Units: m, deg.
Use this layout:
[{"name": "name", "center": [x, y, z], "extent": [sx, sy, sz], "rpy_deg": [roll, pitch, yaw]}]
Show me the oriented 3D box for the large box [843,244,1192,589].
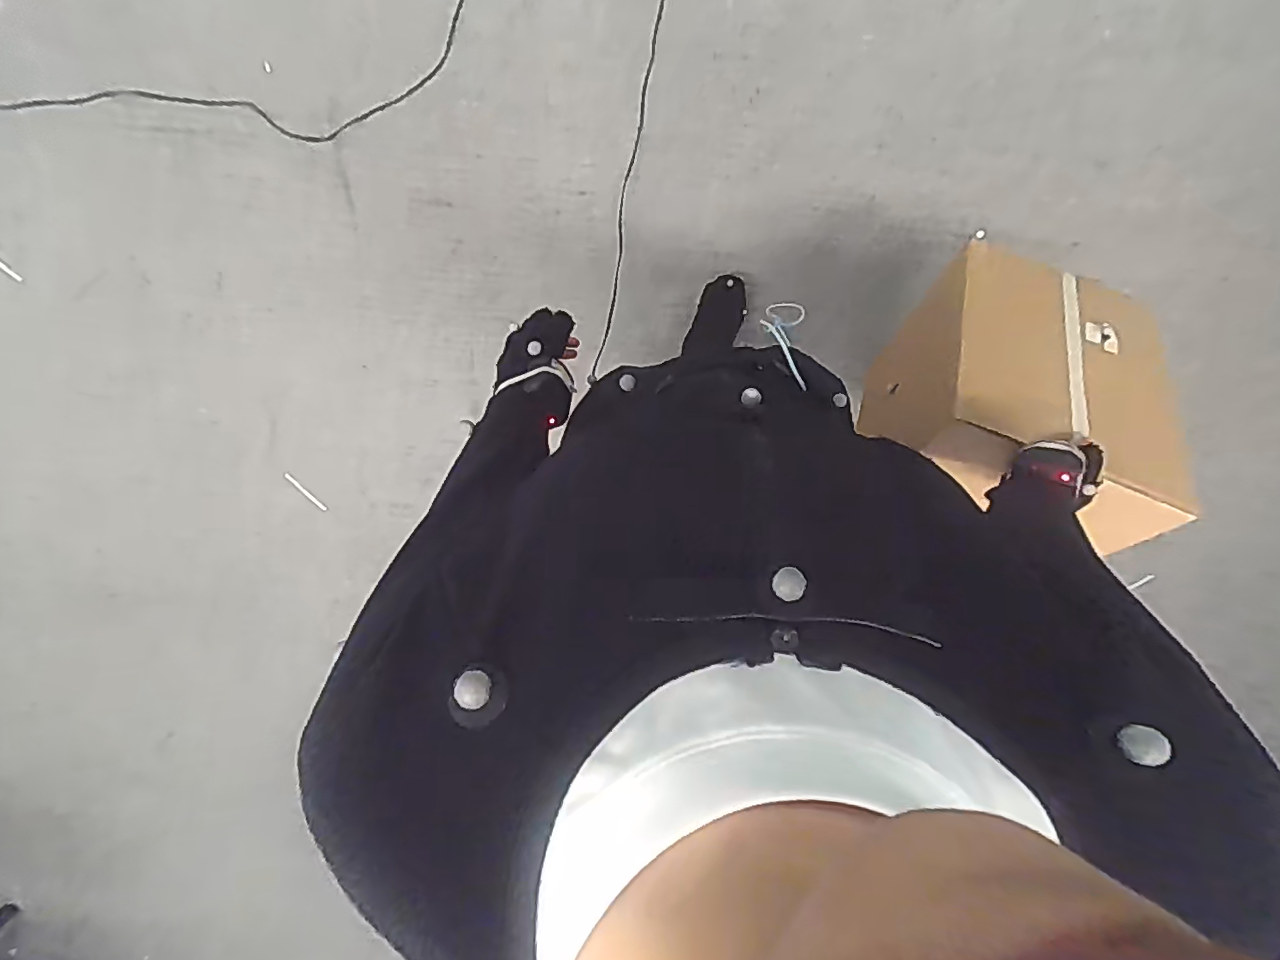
[{"name": "large box", "center": [0.567, -0.095, 0.885], "extent": [0.320, 0.408, 0.320], "rpy_deg": [23, 149, 3]}]
